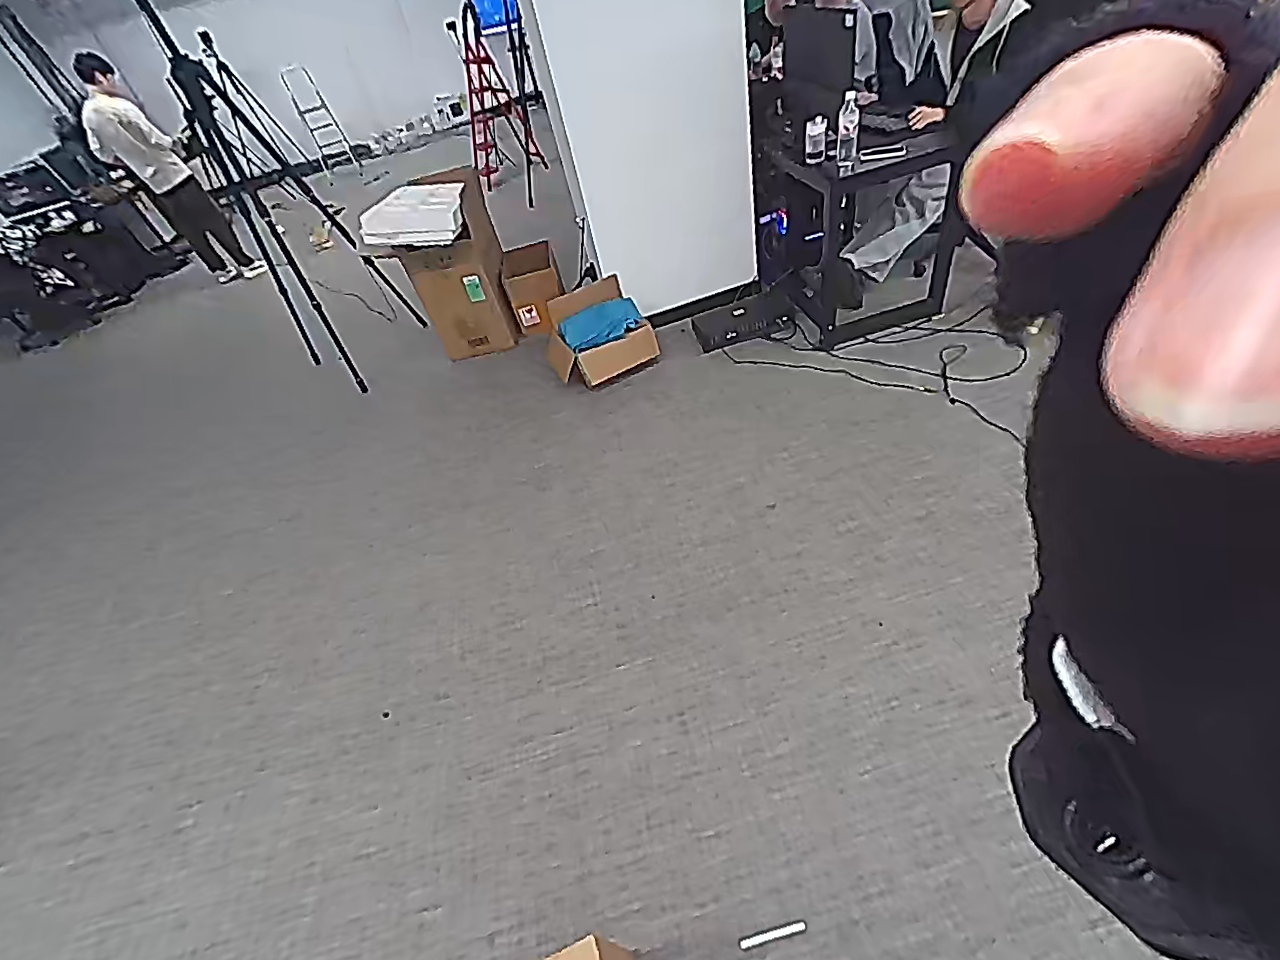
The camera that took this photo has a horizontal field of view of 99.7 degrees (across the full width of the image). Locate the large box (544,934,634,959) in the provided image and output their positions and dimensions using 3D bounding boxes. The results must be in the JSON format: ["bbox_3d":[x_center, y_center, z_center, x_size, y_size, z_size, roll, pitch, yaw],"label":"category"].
[{"bbox_3d":[-0.110,1.073,0.881,0.320,0.320,0.408,-24,43,-8],"label":"large box"}]
